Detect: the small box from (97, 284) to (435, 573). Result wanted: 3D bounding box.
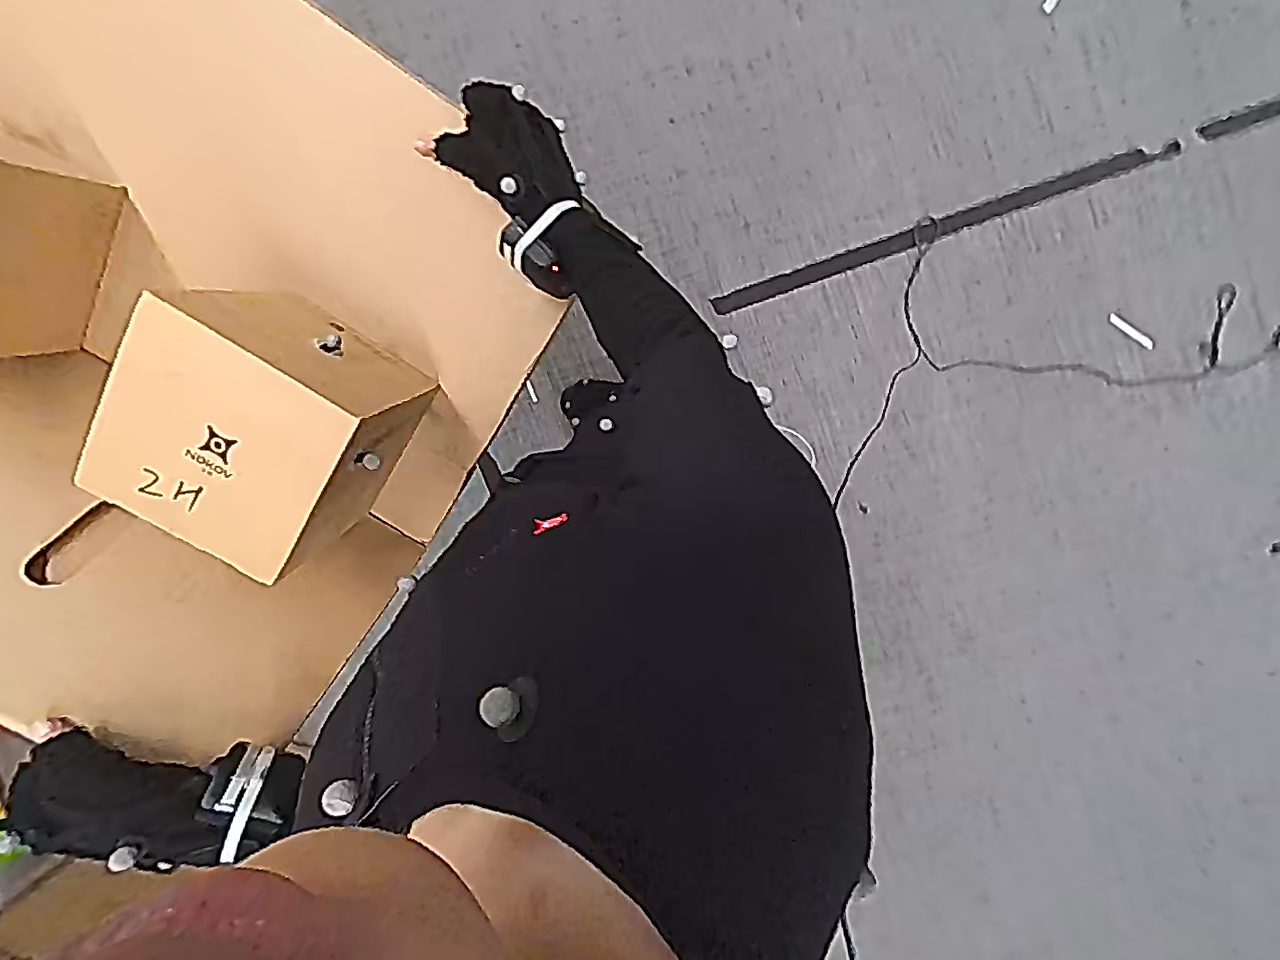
[{"bbox_3d":[-0.316,-0.056,0.497,0.168,0.176,0.179,35,106,-10],"label":"small box"}]
